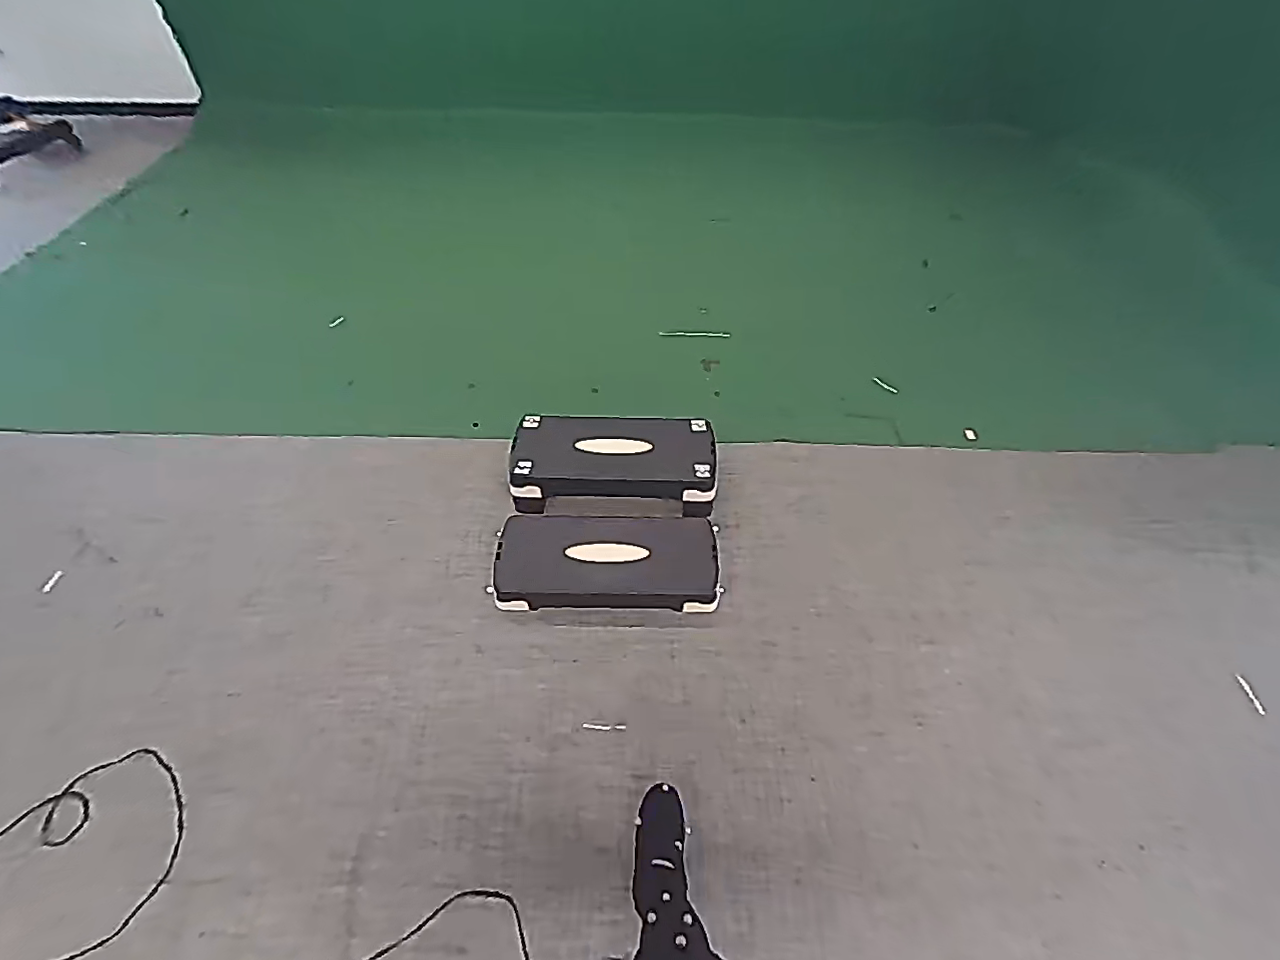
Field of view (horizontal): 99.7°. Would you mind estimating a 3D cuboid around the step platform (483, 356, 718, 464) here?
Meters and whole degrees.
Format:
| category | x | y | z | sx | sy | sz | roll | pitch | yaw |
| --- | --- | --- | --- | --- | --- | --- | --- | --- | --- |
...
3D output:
| category | x | y | z | sx | sy | sz | roll | pitch | yaw |
| --- | --- | --- | --- | --- | --- | --- | --- | --- | --- |
| step platform | -0.113 | -0.212 | 1.663 | 0.684 | 0.204 | 0.286 | 1 | 53 | 0 |
